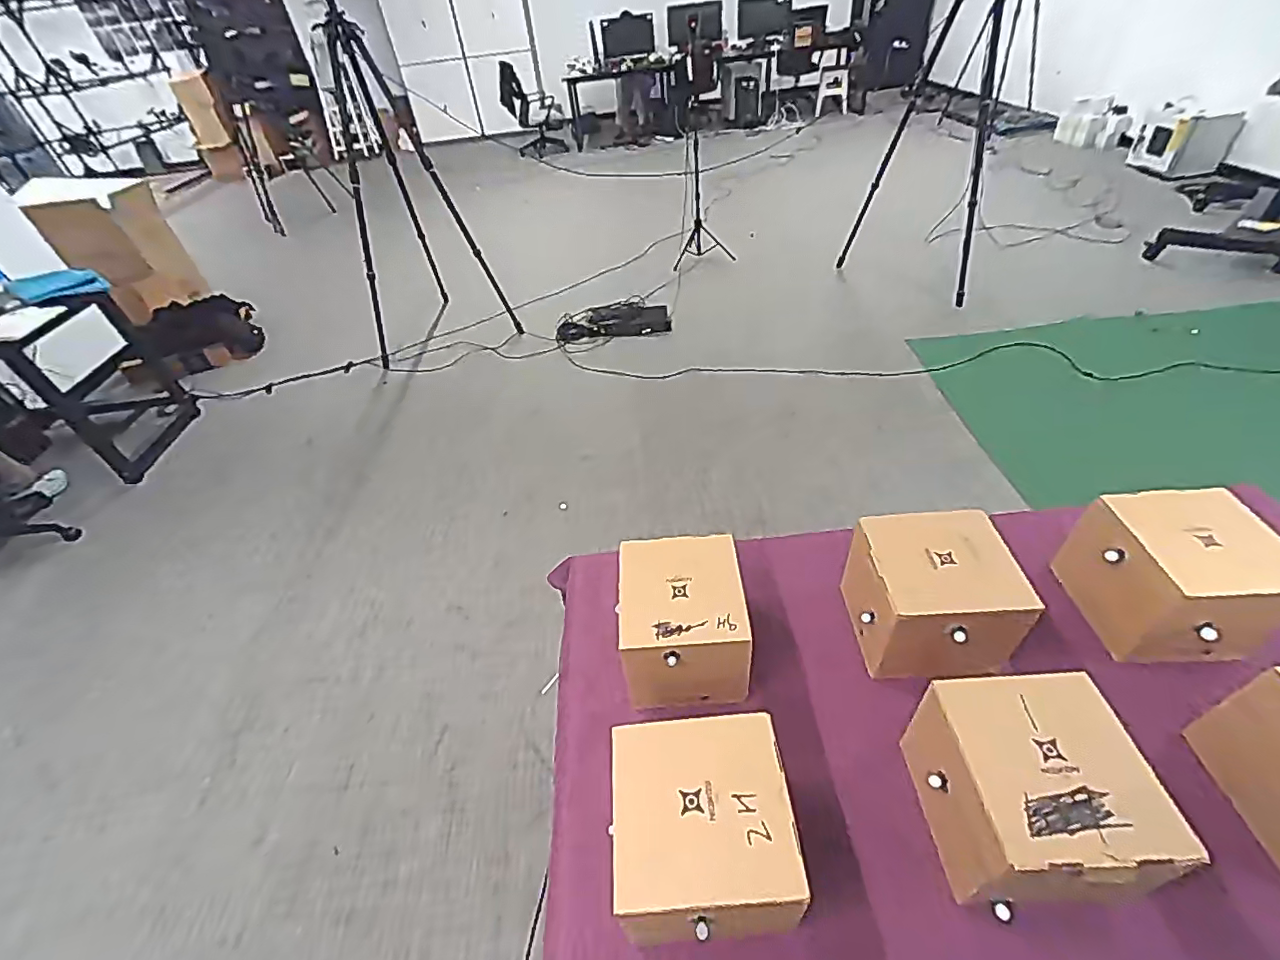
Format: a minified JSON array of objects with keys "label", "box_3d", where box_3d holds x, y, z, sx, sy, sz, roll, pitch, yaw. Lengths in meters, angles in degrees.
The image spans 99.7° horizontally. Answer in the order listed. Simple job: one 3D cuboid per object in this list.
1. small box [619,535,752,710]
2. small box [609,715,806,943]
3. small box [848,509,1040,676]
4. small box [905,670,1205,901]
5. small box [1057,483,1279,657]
[{"label":"small box","box_3d":[0.062,0.203,0.774,0.168,0.176,0.179,-6,42,3]},{"label":"small box","box_3d":[0.066,0.377,0.583,0.179,0.176,0.168,-6,42,2]},{"label":"small box","box_3d":[0.405,0.162,0.763,0.179,0.176,0.168,-4,43,5]},{"label":"small box","box_3d":[0.409,0.329,0.577,0.168,0.176,0.179,-5,41,4]},{"label":"small box","box_3d":[0.730,0.129,0.742,0.168,0.176,0.179,-5,42,5]}]
